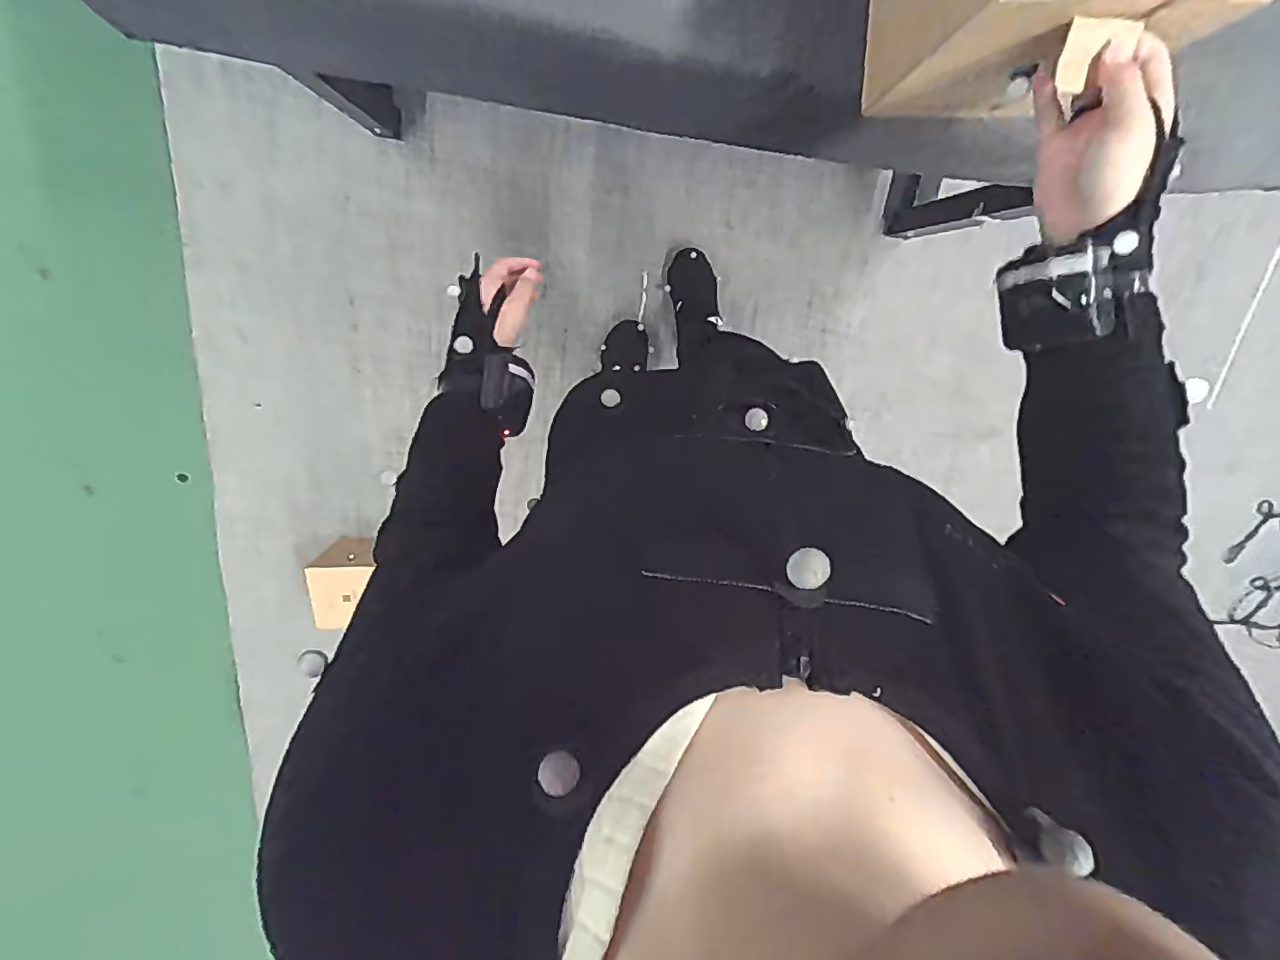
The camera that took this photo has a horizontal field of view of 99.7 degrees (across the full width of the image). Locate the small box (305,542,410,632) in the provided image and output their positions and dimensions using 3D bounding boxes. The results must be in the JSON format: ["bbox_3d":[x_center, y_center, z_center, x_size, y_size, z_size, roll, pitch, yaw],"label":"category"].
[{"bbox_3d":[-0.687,0.260,1.343,0.179,0.176,0.168,-1,107,-3],"label":"small box"}]

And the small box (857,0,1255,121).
[{"bbox_3d":[0.262,-0.365,0.361,0.168,0.176,0.179,-2,104,-3],"label":"small box"}]
